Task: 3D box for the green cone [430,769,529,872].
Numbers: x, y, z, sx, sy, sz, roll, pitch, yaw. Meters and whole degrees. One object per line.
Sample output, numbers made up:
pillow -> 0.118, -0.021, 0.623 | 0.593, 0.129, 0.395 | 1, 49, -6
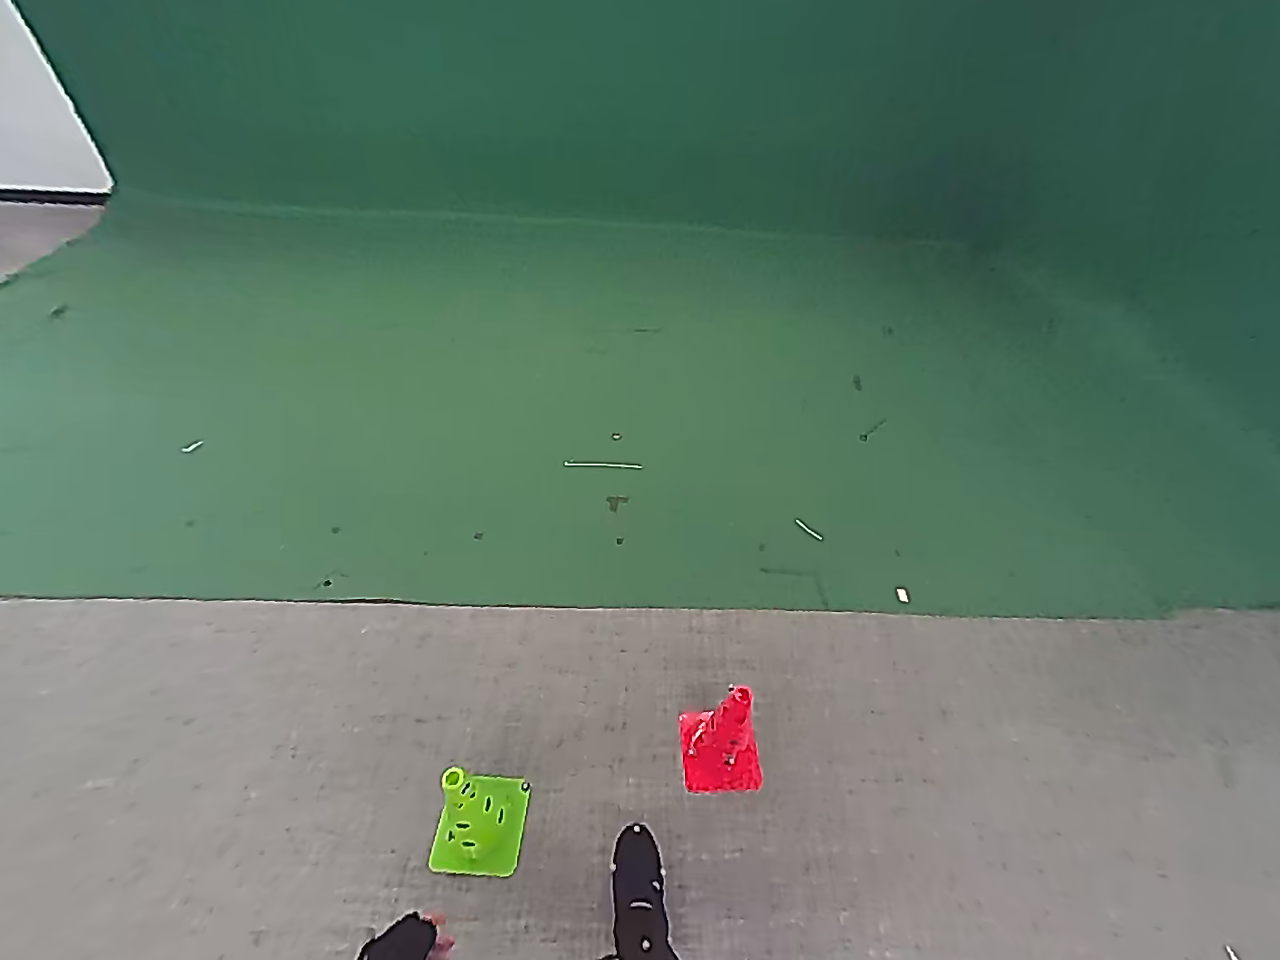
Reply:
green cone -> -0.369, 0.689, 1.159 | 0.200, 0.368, 0.202 | 3, 46, 0
